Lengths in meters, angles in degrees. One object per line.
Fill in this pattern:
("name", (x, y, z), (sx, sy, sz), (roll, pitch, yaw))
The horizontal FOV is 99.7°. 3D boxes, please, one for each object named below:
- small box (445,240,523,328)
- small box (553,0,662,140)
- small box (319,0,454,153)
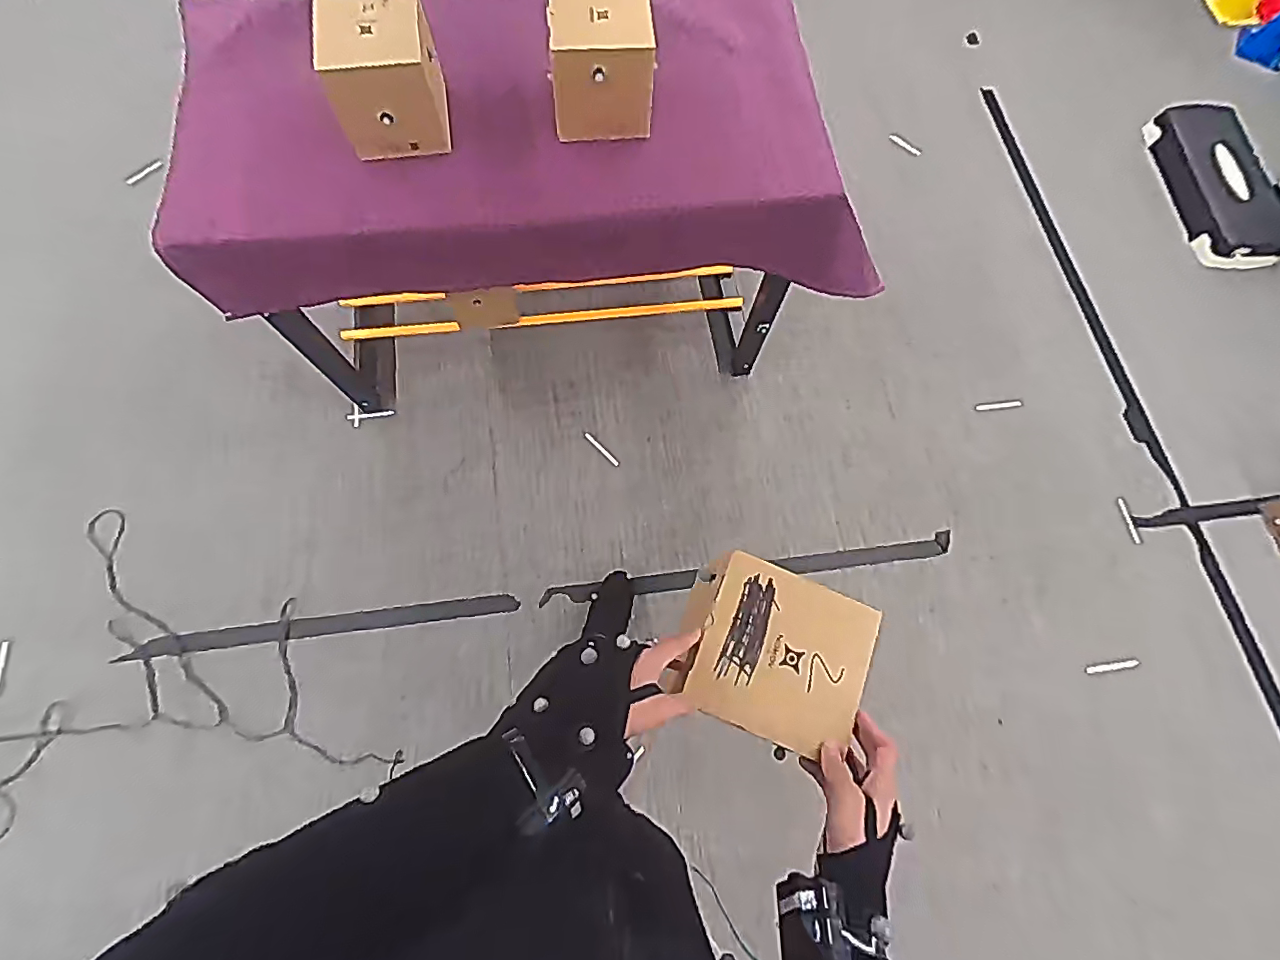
("small box", (-0.439, -0.551, 1.538), (0.179, 0.176, 0.168), (-9, 73, -7))
("small box", (-0.059, -0.745, 0.971), (0.179, 0.176, 0.168), (-4, 73, -3))
("small box", (-0.430, -0.698, 0.939), (0.168, 0.176, 0.179), (-8, 73, -5))
